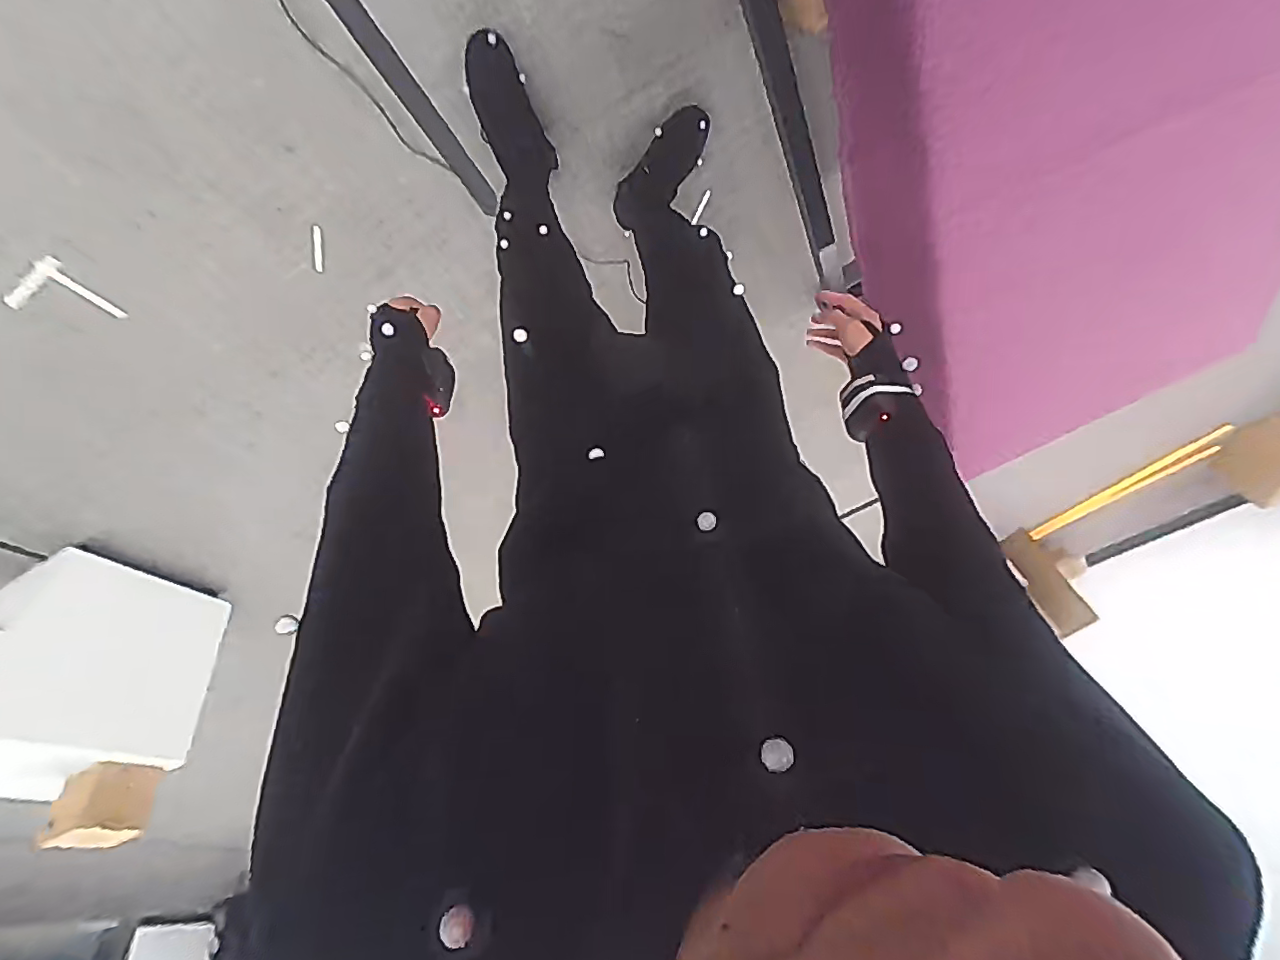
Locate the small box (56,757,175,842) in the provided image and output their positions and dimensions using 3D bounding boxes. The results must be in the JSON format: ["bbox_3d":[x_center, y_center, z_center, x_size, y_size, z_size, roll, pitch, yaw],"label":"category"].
[{"bbox_3d":[-1.525,0.939,1.587,0.179,0.176,0.168,-27,138,14],"label":"small box"}]
